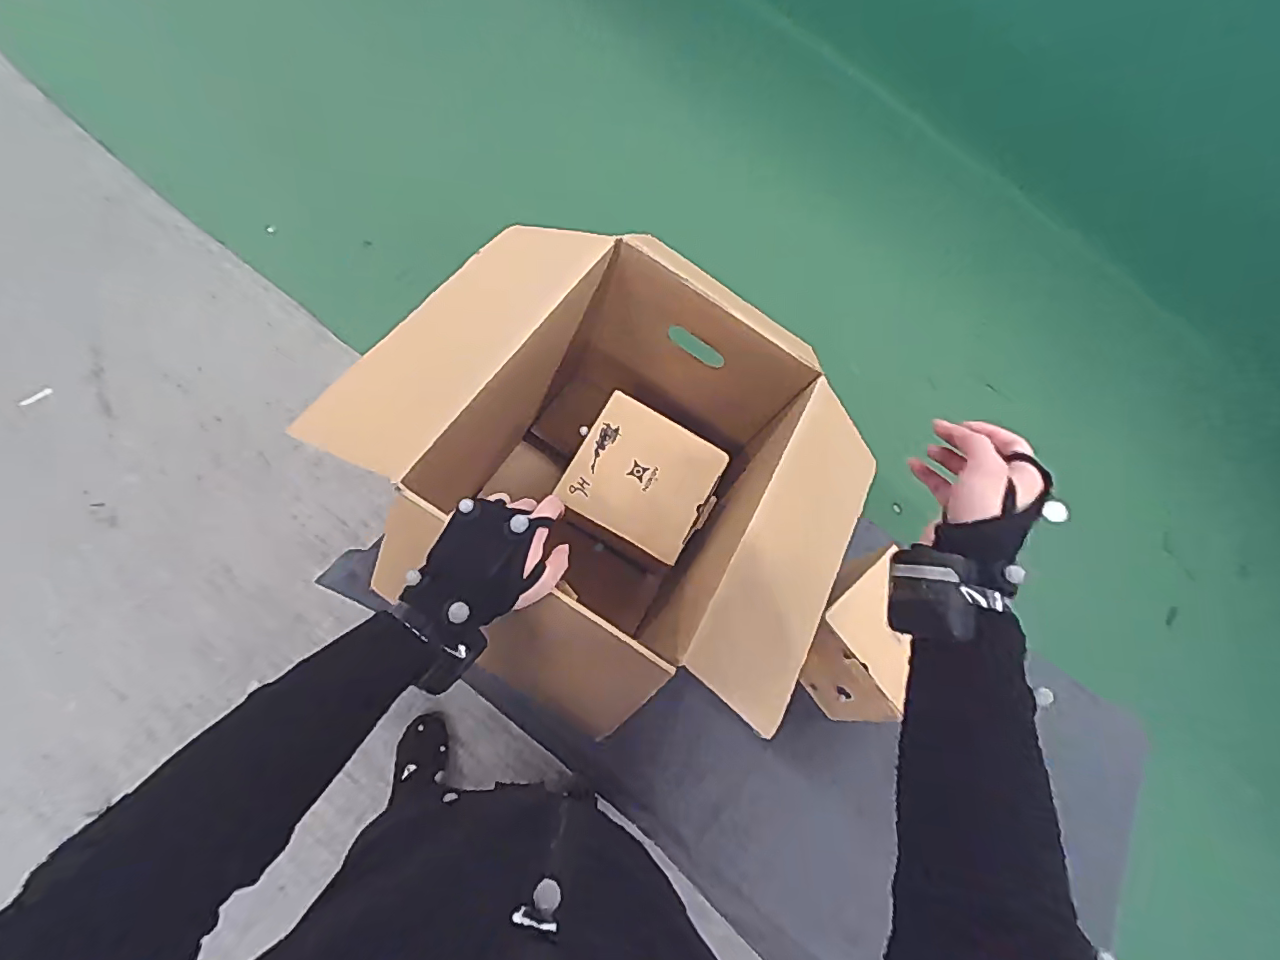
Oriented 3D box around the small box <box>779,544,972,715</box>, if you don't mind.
[{"bbox_3d":[0.335,0.226,0.806,0.179,0.176,0.168,-34,82,-27],"label":"small box"}]
